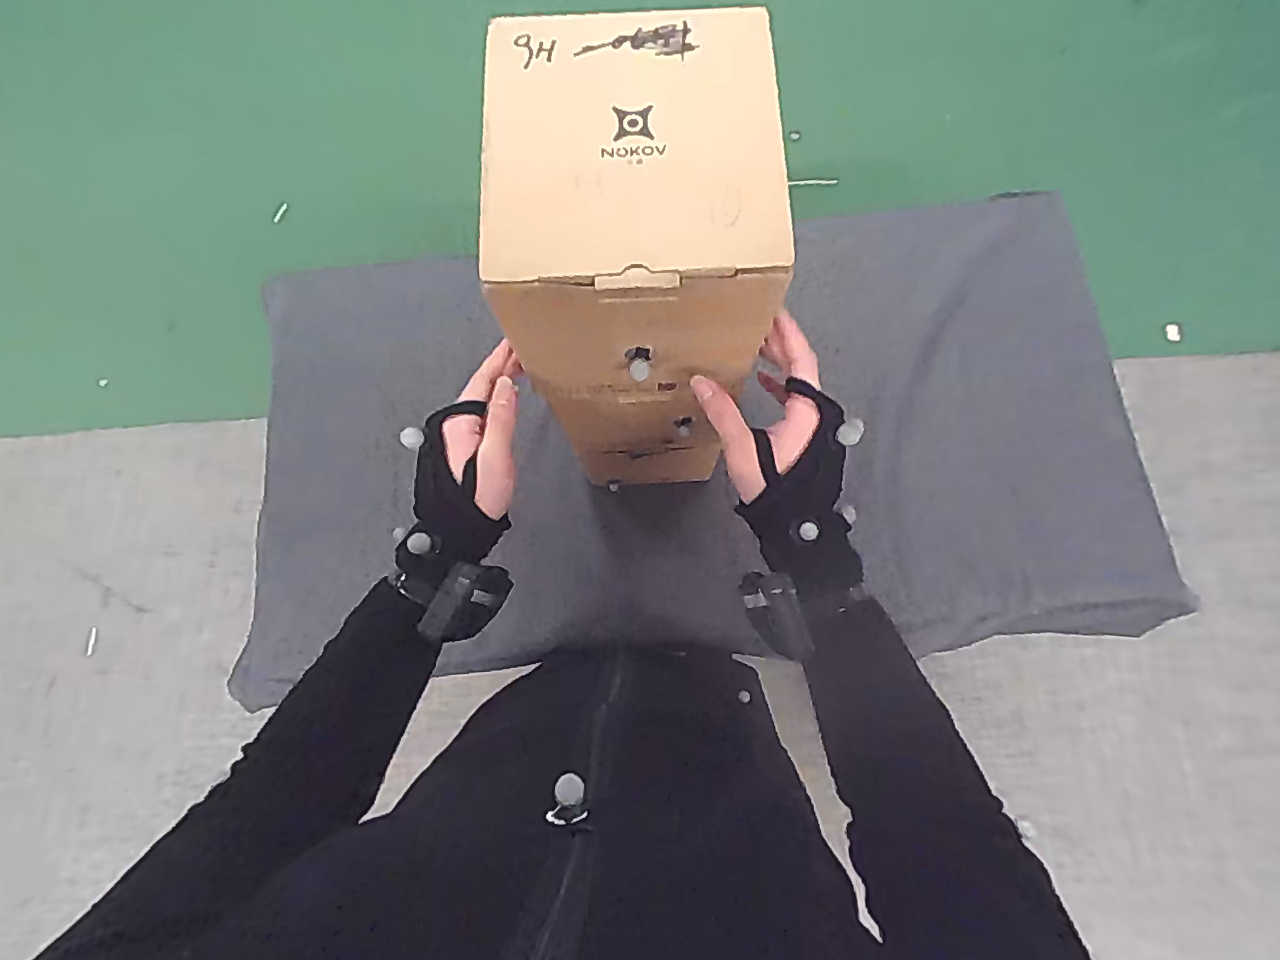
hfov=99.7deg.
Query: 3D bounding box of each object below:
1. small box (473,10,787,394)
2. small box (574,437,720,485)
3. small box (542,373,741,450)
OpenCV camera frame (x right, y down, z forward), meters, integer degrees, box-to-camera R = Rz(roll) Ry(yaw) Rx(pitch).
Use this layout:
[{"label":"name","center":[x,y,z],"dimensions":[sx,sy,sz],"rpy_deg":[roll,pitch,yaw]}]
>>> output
[{"label":"small box","center":[-0.006,-0.164,0.371],"dimensions":[0.168,0.176,0.179],"rpy_deg":[-2,78,0]},{"label":"small box","center":[0.009,-0.094,0.688],"dimensions":[0.168,0.176,0.179],"rpy_deg":[-4,76,2]},{"label":"small box","center":[0.001,-0.131,0.532],"dimensions":[0.168,0.176,0.179],"rpy_deg":[-3,76,0]}]
